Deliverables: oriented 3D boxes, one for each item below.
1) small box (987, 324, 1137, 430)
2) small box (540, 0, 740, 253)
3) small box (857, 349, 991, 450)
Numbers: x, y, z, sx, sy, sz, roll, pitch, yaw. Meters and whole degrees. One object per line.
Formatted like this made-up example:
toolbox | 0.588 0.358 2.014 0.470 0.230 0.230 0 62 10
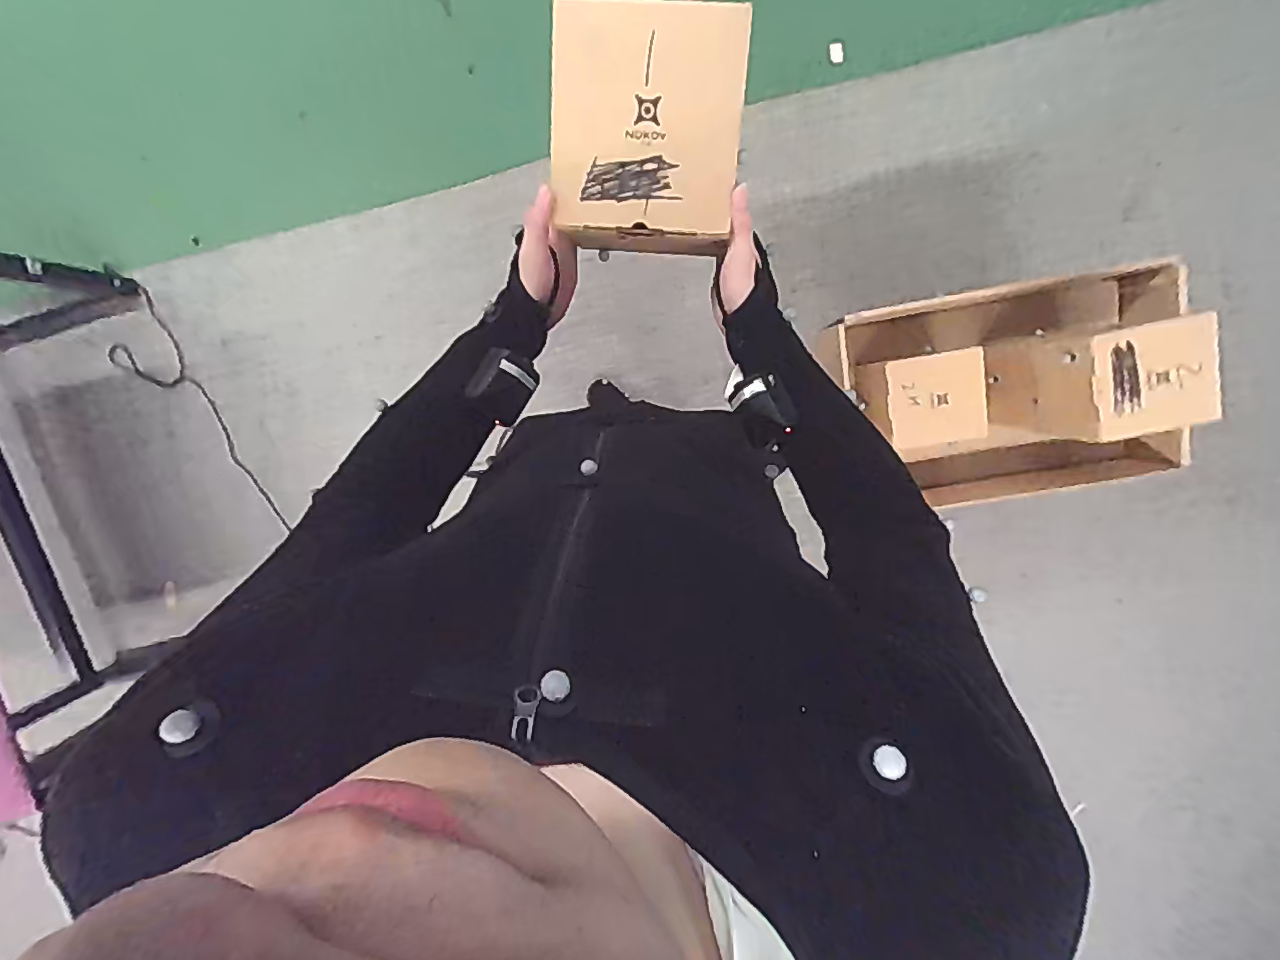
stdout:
small box | 0.800 -0.198 1.045 0.179 0.176 0.168 -10 99 7
small box | 0.001 -0.329 0.539 0.168 0.176 0.179 4 106 3
small box | 0.549 -0.159 1.060 0.179 0.176 0.168 -9 99 4
